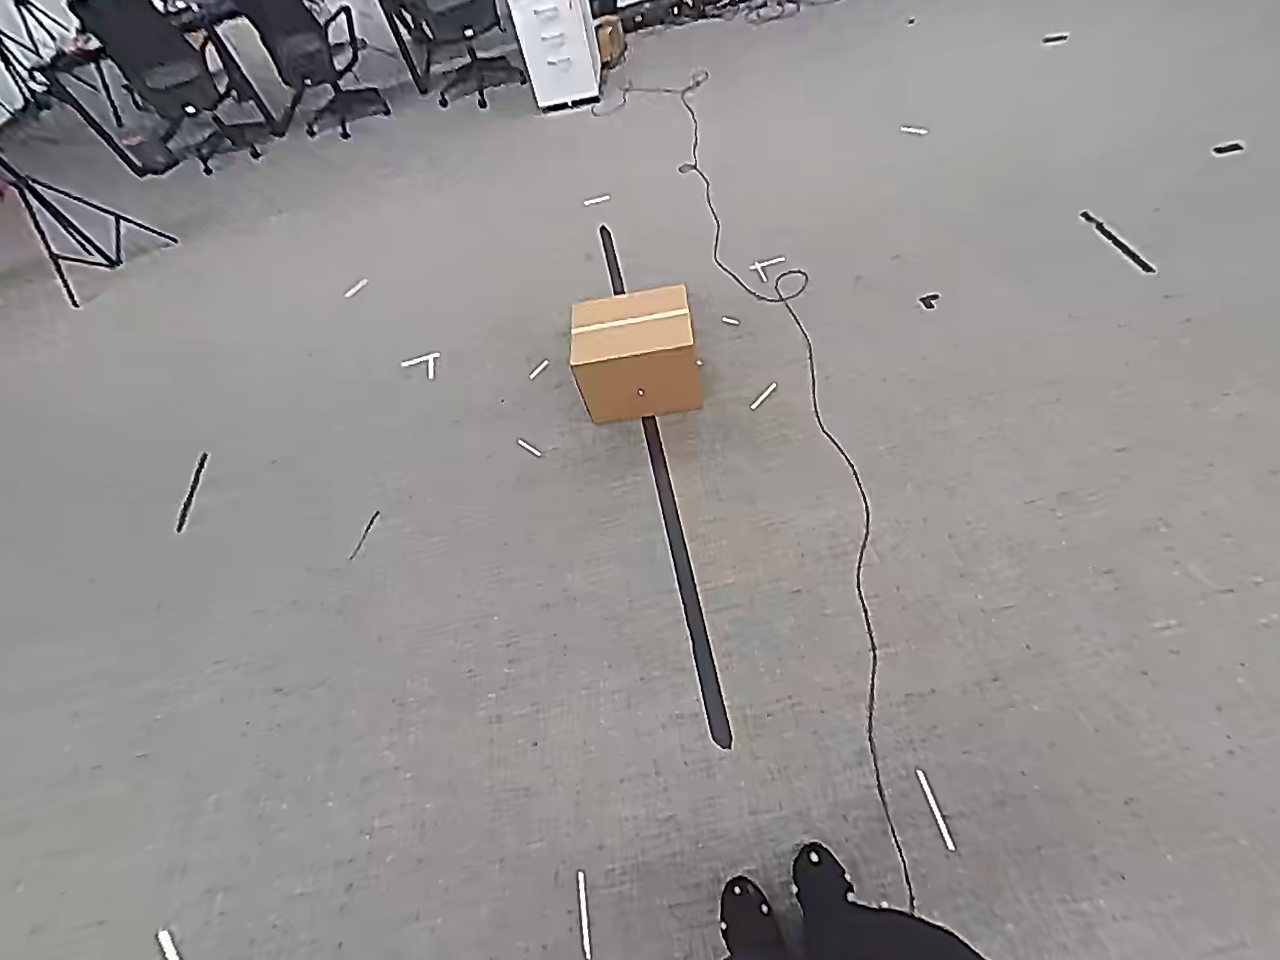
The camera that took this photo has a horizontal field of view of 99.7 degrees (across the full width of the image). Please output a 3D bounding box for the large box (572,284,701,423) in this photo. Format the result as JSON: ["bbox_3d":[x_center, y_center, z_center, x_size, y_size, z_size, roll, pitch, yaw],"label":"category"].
[{"bbox_3d":[-0.010,-0.437,1.915,0.408,0.320,0.320,-8,56,7],"label":"large box"}]
